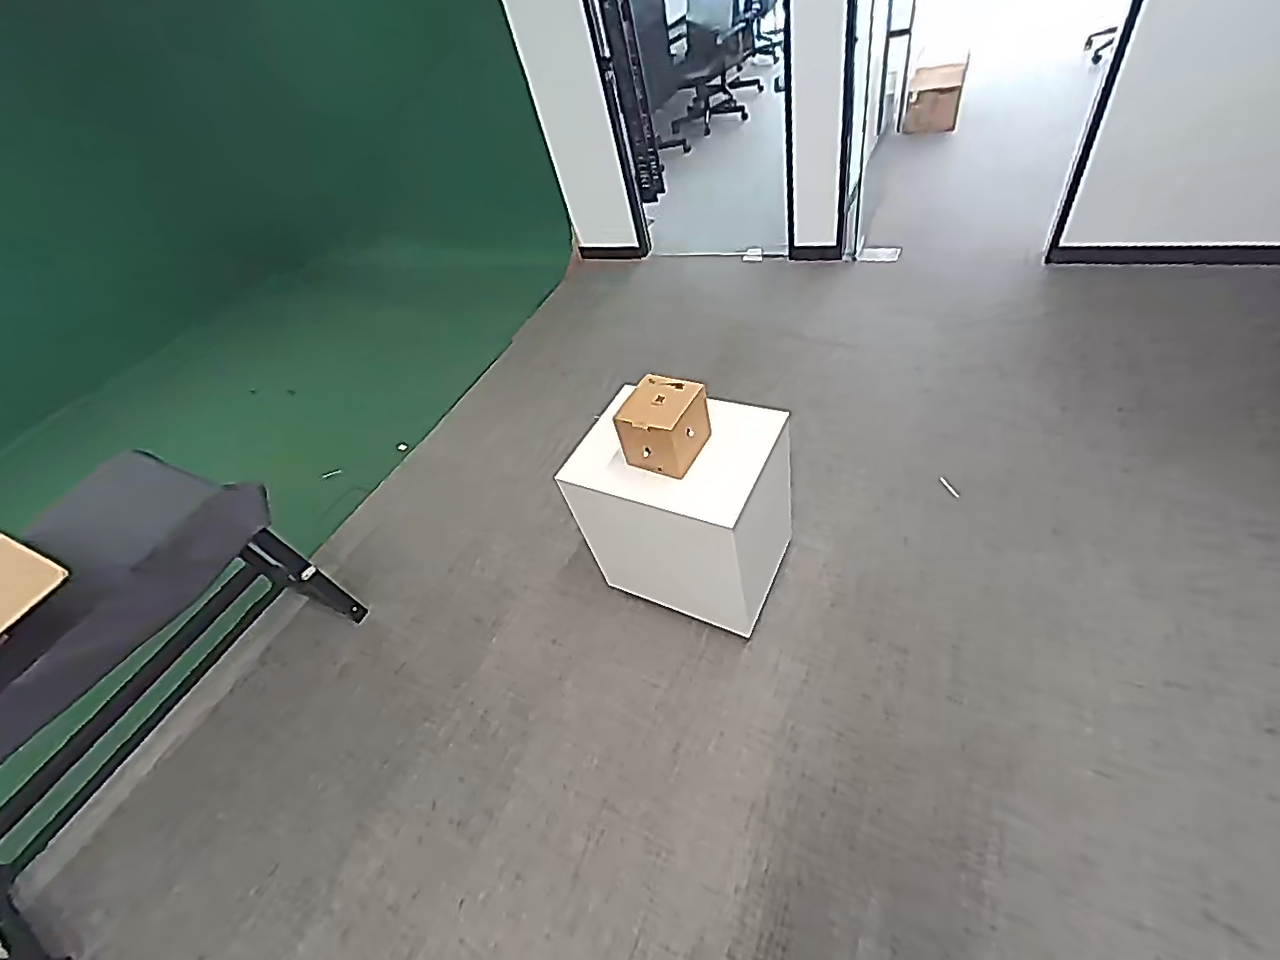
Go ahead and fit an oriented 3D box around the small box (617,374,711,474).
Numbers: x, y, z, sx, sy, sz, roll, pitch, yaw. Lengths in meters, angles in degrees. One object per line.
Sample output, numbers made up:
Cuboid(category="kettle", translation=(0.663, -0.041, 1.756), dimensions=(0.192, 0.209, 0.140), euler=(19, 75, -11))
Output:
Cuboid(category="small box", translation=(0.069, -0.139, 1.360), dimensions=(0.168, 0.176, 0.179), euler=(15, 54, 28))
